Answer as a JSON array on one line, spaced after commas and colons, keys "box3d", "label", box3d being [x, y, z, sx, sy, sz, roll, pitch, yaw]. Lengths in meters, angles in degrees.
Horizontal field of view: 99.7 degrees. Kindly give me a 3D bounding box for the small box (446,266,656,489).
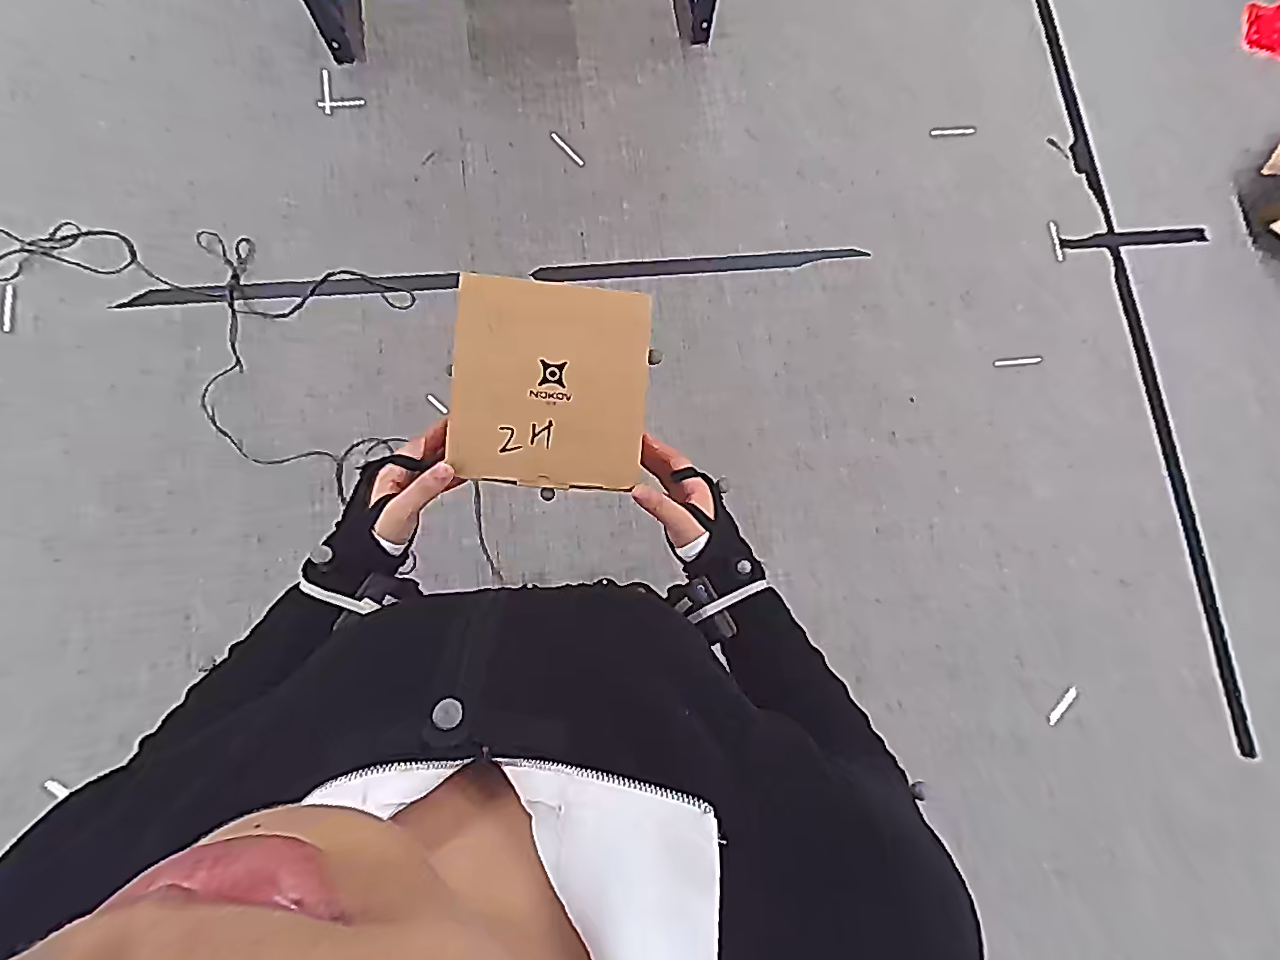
[{"box3d": [-0.083, -0.086, 0.540, 0.168, 0.176, 0.179, 5, 88, -6], "label": "small box"}]
